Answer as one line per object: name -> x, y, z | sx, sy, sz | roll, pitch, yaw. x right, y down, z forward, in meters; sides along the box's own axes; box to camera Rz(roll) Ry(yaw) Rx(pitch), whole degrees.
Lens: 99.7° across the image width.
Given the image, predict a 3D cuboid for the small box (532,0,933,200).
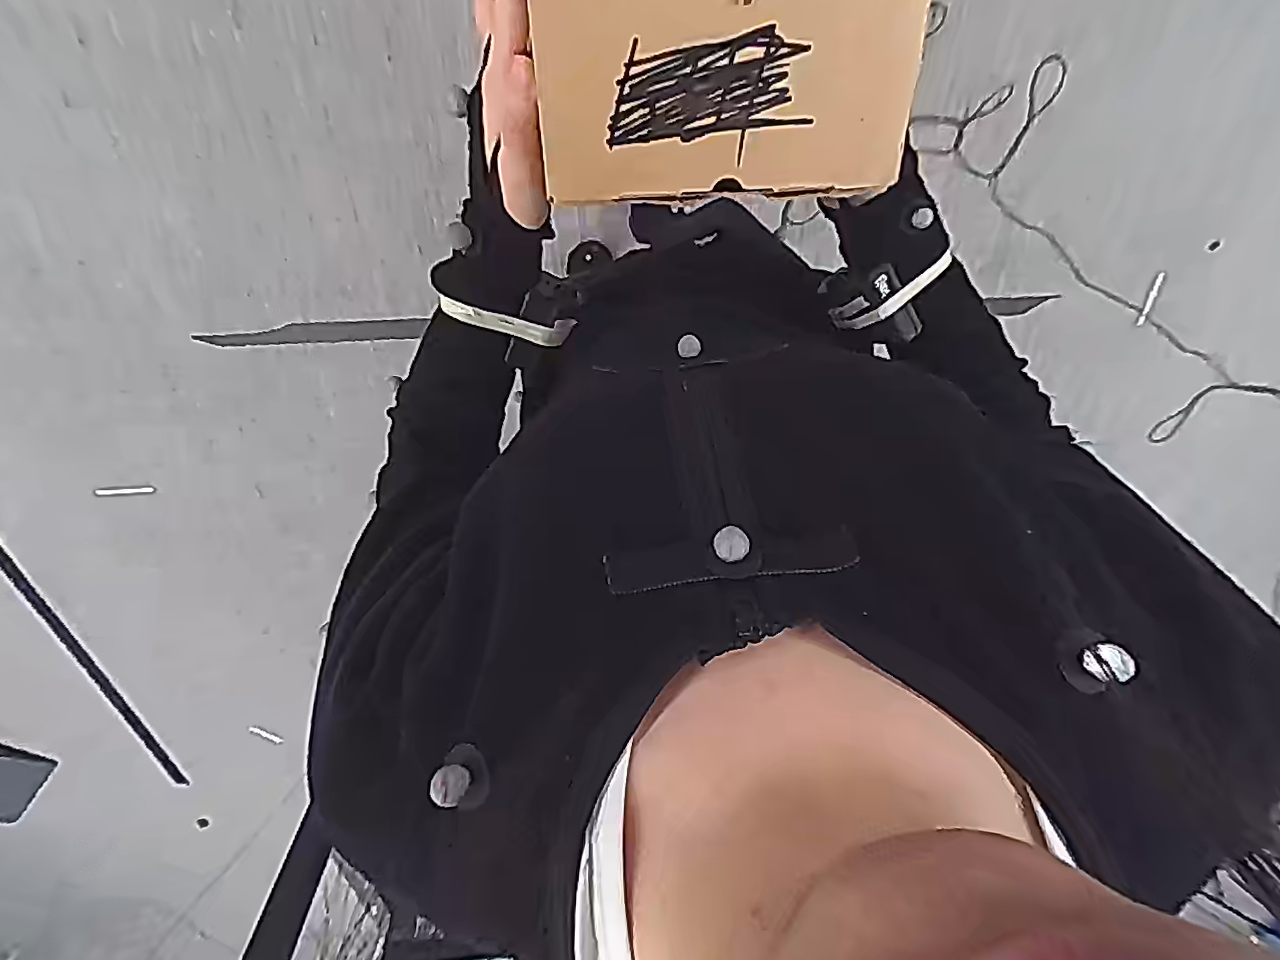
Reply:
small box -> 0.029, -0.250, 0.271 | 0.168, 0.176, 0.179 | -6, 123, -6
